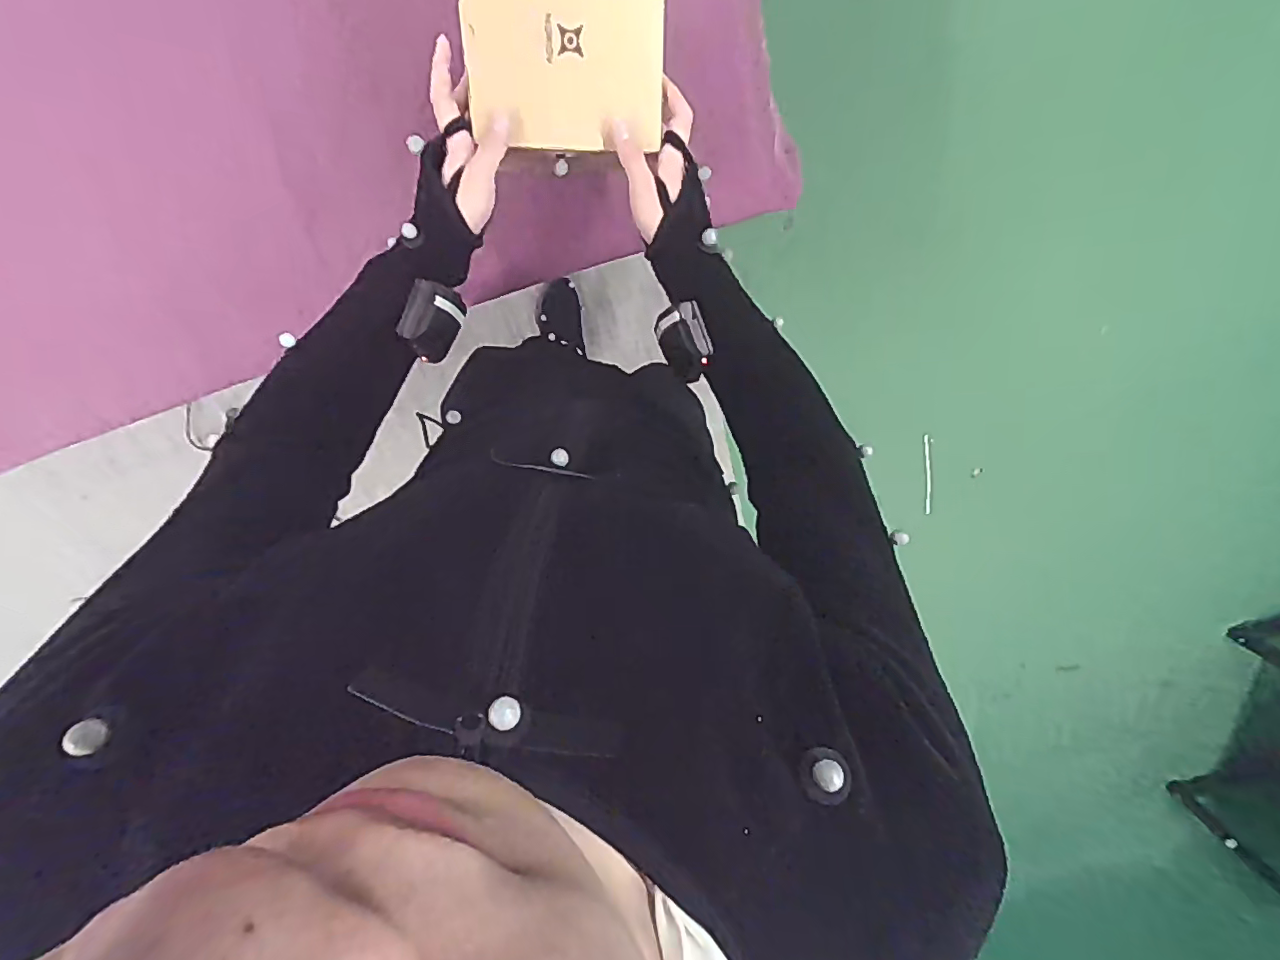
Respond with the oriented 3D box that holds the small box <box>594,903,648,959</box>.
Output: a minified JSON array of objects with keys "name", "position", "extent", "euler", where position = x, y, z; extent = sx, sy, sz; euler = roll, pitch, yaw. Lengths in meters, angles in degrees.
[{"name":"small box","position":[-0.071,1.653,1.928],"extent":[0.179,0.176,0.168],"euler":[-12,115,-3]}]

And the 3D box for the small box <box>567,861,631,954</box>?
[{"name":"small box","position":[-0.139,1.420,1.802],"extent":[0.179,0.176,0.168],"euler":[-16,117,-1]}]

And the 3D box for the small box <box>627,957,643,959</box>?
[{"name":"small box","position":[-0.049,1.724,1.781],"extent":[0.179,0.176,0.168],"euler":[-14,115,-4]}]

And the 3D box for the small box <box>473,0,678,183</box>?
[{"name":"small box","position":[-0.065,-0.403,0.545],"extent":[0.179,0.176,0.168],"euler":[-1,114,-7]}]
